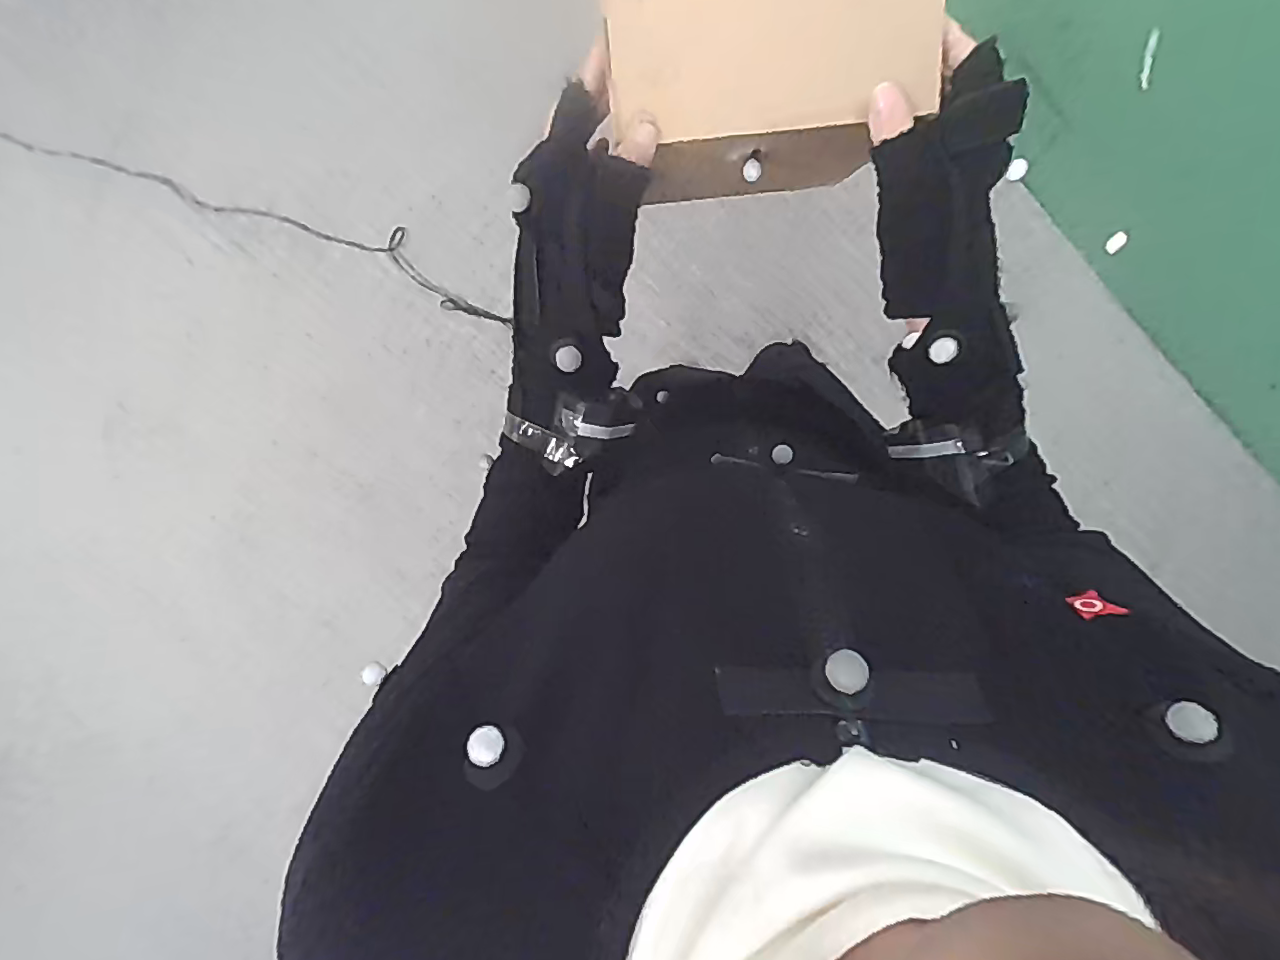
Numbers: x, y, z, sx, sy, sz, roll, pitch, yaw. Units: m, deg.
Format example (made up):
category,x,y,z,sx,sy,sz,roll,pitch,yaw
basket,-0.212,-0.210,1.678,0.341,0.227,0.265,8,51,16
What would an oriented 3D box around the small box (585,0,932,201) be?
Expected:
category,x,y,z,sx,sy,sz,roll,pitch,yaw
small box,0.058,-0.288,0.342,0.179,0.176,0.168,-6,107,2
